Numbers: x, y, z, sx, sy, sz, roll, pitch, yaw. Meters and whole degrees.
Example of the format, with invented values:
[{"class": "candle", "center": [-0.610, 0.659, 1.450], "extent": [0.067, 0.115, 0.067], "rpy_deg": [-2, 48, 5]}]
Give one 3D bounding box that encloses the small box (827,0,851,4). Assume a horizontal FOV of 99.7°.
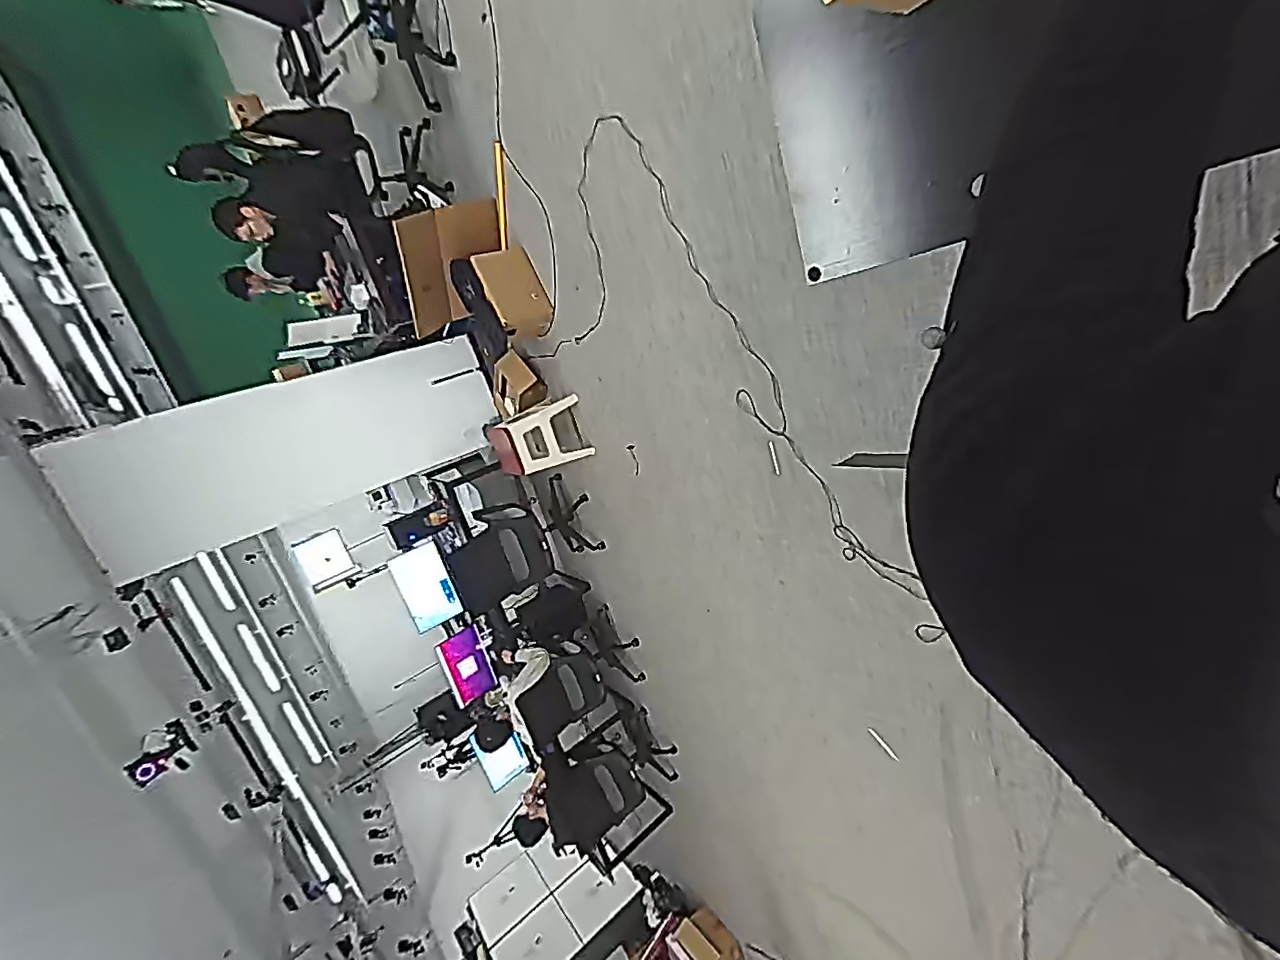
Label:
[{"class": "small box", "center": [0.278, -0.599, 0.511], "extent": [0.168, 0.176, 0.179], "rpy_deg": [9, 120, 54]}]
